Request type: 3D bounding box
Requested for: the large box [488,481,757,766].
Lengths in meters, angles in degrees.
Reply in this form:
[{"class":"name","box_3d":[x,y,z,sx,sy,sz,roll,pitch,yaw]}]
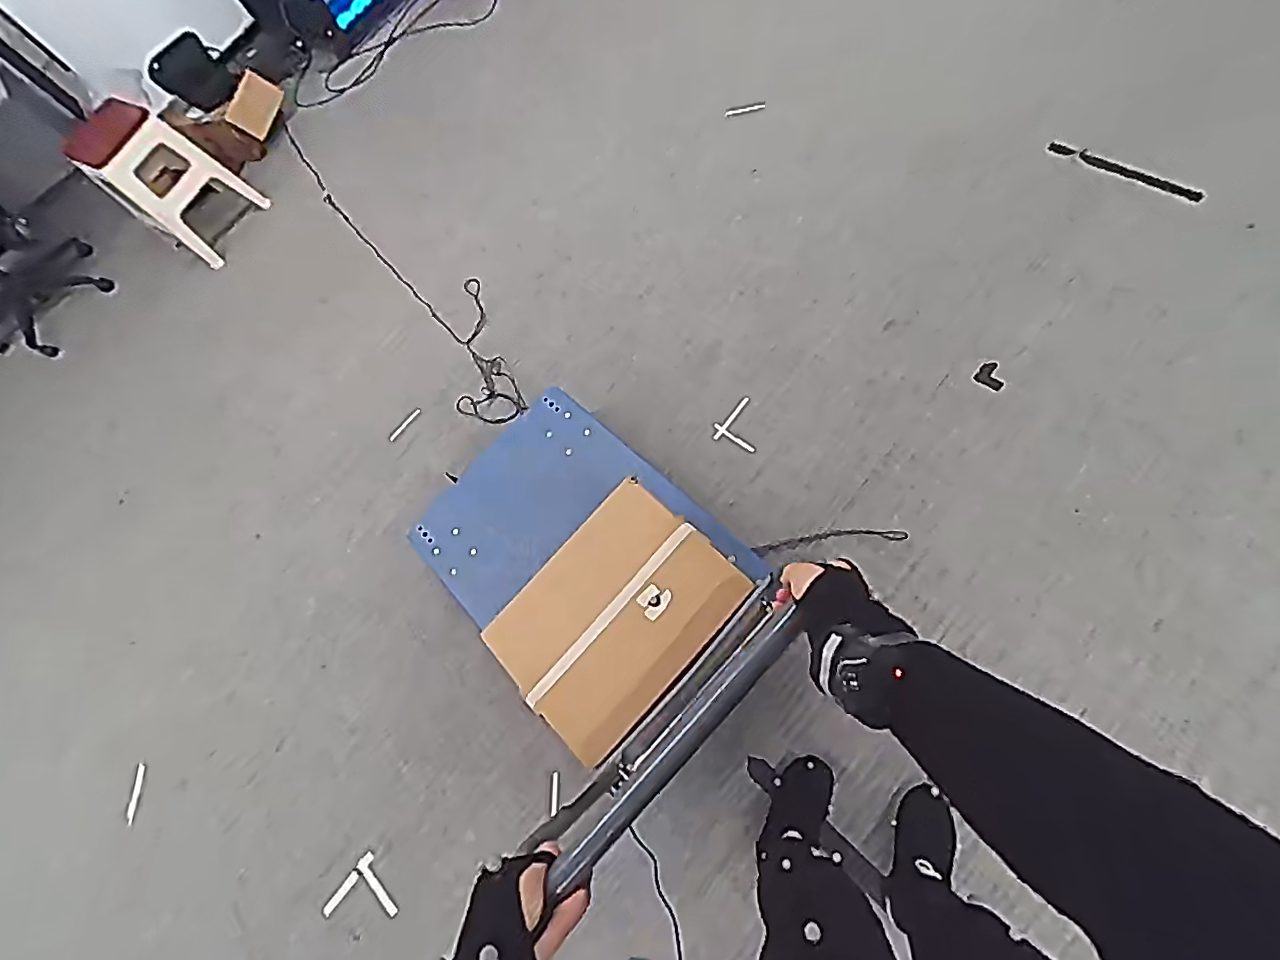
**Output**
[{"class":"large box","box_3d":[-0.013,0.284,1.088,0.320,0.320,0.408,40,84,23]}]
